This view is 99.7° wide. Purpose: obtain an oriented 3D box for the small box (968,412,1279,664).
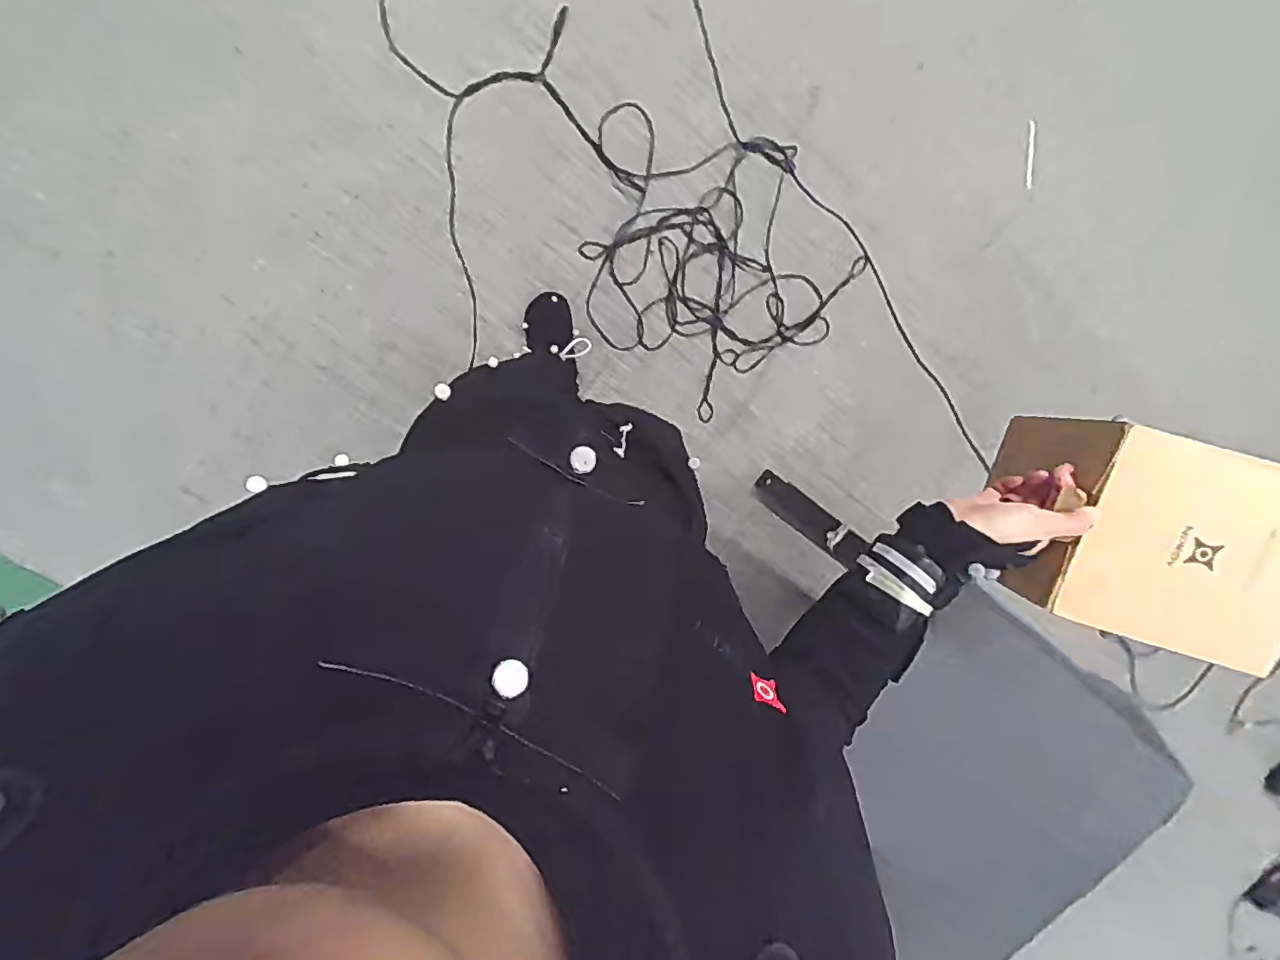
[{"bbox_3d":[0.449,0.037,0.502,0.179,0.176,0.168,15,101,4],"label":"small box"}]
